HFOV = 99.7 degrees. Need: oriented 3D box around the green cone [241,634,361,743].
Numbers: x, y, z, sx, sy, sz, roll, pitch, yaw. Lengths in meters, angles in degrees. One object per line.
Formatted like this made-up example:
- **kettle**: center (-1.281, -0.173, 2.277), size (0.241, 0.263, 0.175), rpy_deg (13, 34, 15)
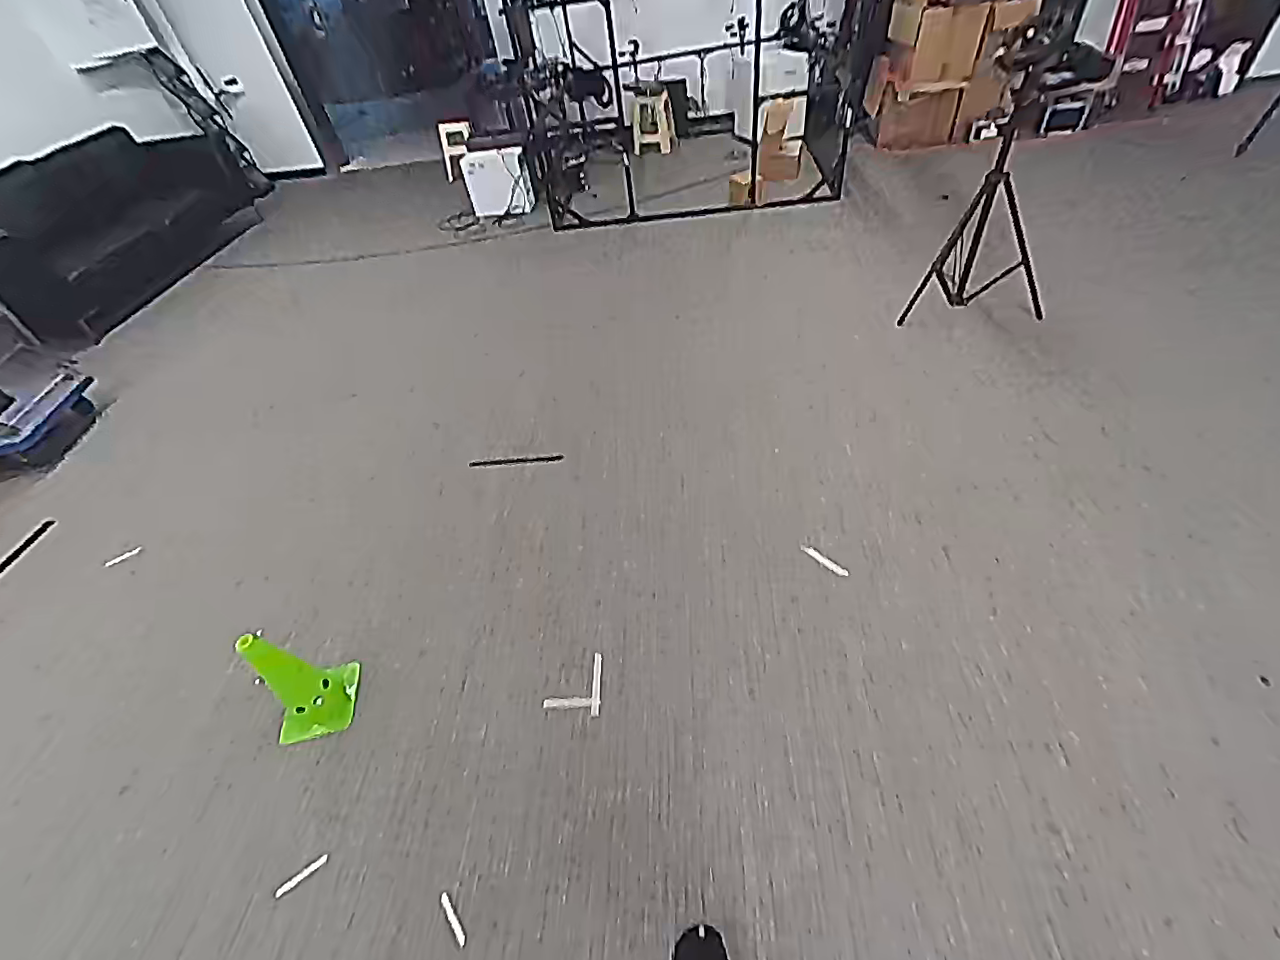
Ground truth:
- **green cone**: center (-0.935, 0.521, 1.435), size (0.202, 0.368, 0.200), rpy_deg (-13, 45, -5)
